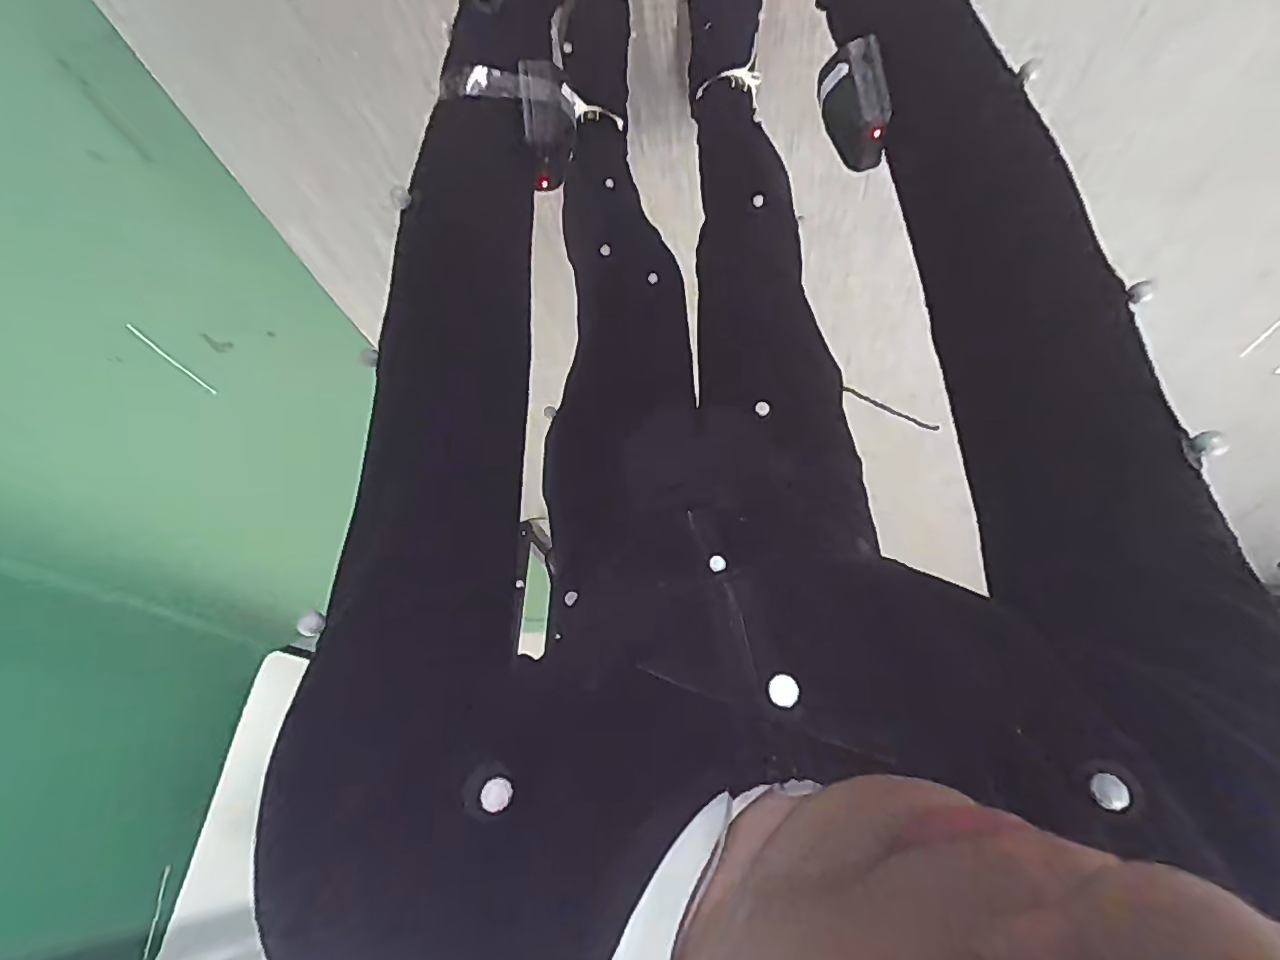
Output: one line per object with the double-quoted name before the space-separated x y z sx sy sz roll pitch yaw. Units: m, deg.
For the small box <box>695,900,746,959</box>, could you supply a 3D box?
"small box" 0.275 1.559 1.856 0.168 0.176 0.179 -3 150 5
